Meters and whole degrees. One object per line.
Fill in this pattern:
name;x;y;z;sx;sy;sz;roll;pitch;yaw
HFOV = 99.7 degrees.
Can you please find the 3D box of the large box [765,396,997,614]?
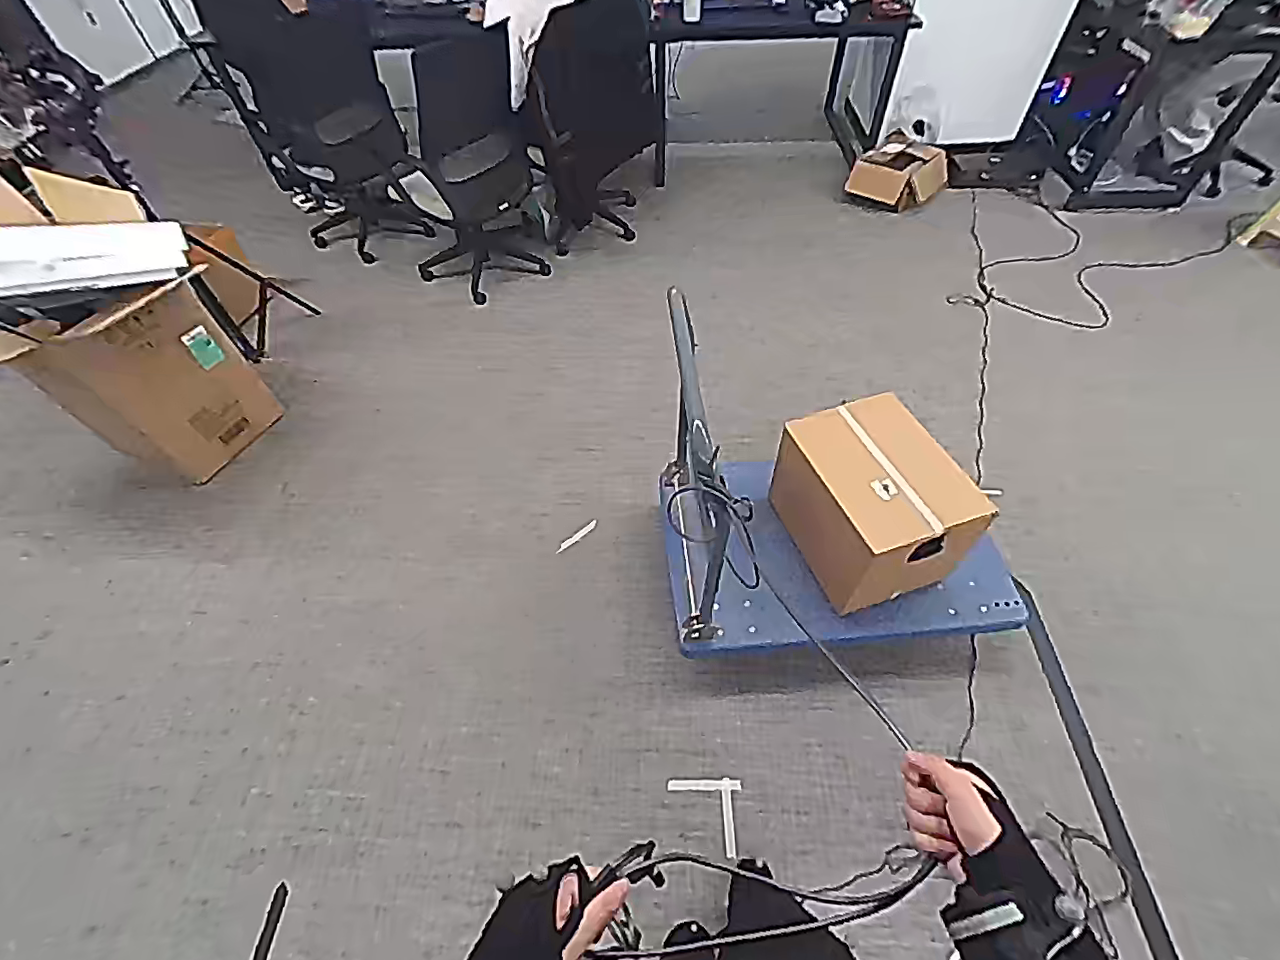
large box;0.563;0.060;1.366;0.320;0.320;0.408;-17;55;-9
